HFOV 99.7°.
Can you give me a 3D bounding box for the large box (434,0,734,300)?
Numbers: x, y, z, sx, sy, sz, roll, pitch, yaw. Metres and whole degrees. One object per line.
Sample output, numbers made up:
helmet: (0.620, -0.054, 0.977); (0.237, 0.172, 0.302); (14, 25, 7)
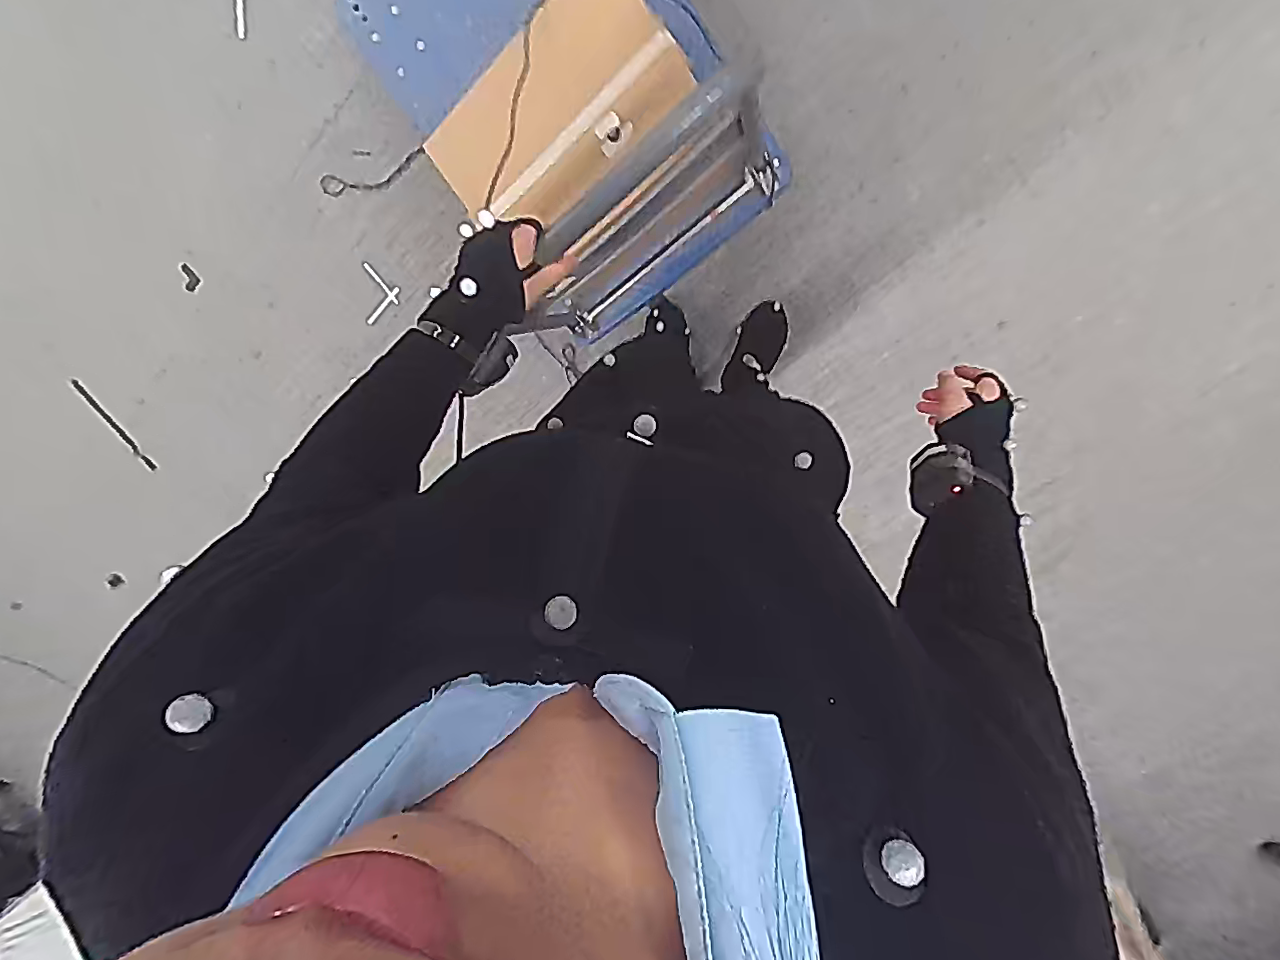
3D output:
large box: (-0.081, -0.587, 0.999); (0.408, 0.320, 0.320); (-33, 101, 22)
